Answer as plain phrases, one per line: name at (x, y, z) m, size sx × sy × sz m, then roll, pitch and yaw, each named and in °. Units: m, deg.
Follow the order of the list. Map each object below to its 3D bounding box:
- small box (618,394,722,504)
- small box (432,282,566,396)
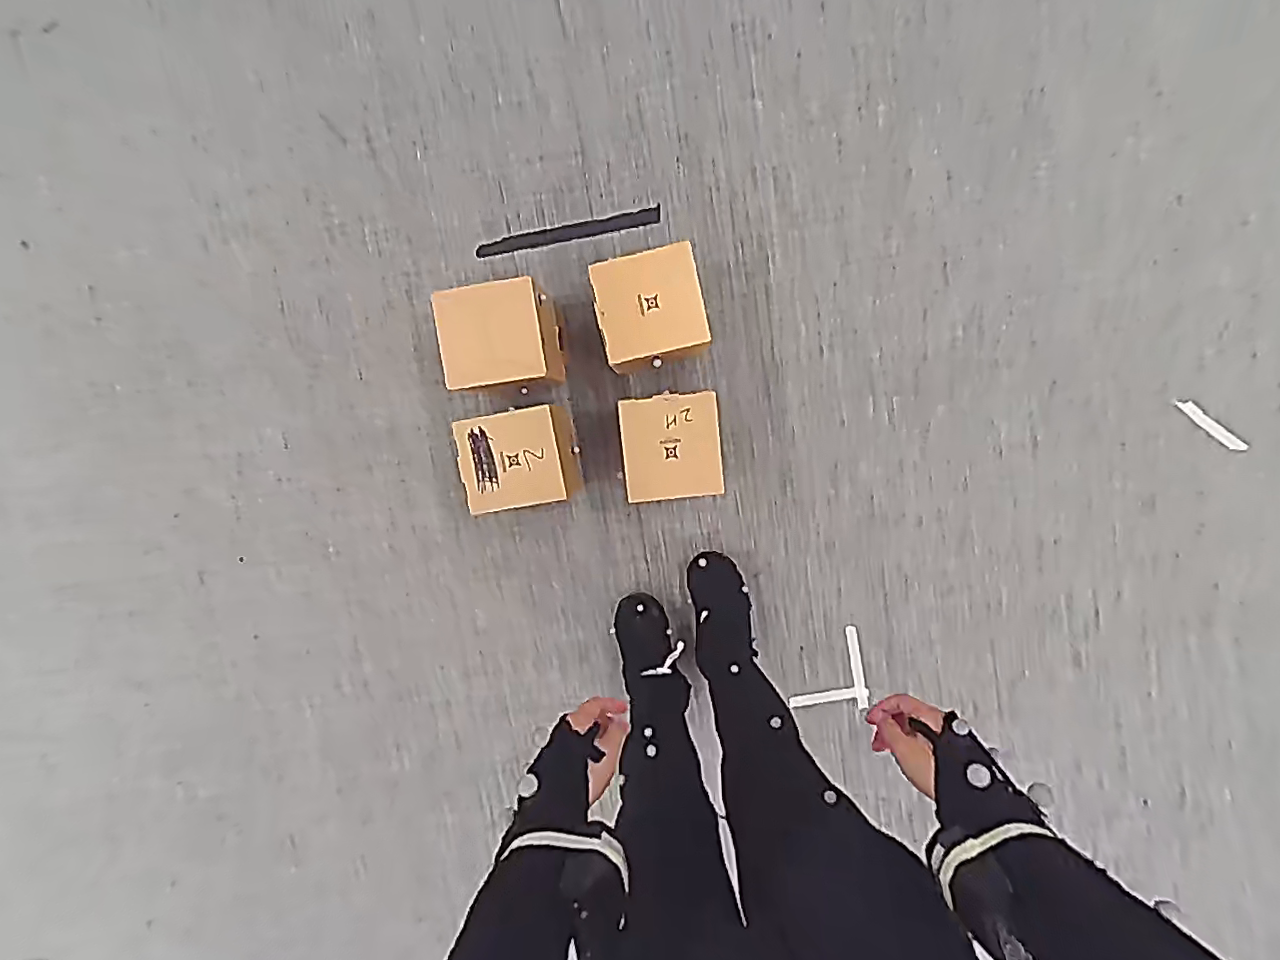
small box at (0.056, -0.060, 0.985) m, size 0.168 × 0.176 × 0.179 m, roll -6°, pitch 96°, yaw 3°
small box at (-0.247, -0.249, 0.981) m, size 0.179 × 0.176 × 0.168 m, roll -8°, pitch 95°, yaw 4°
